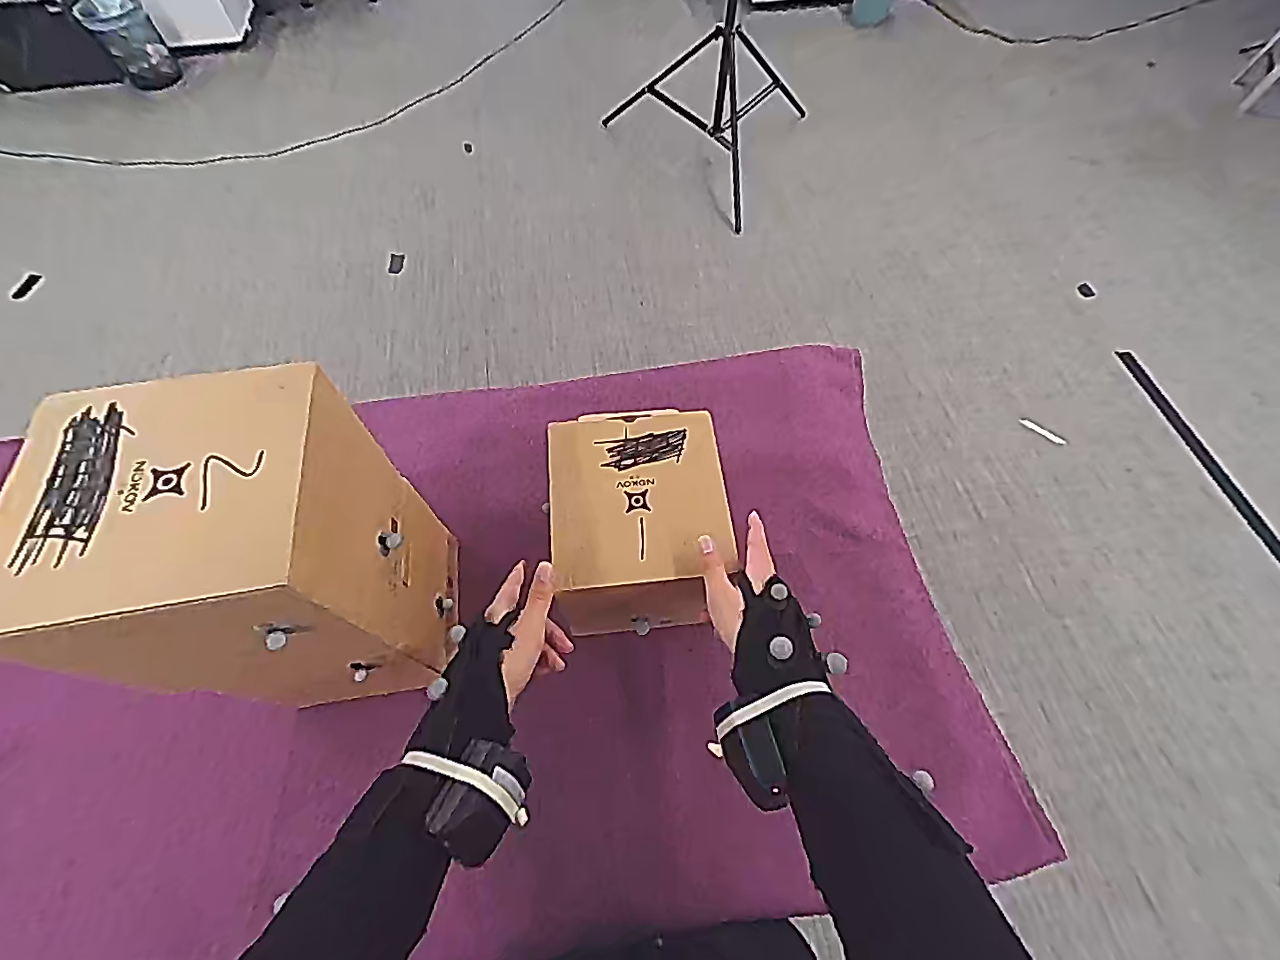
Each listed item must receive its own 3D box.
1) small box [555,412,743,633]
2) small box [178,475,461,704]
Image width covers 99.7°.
[{"bbox_3d":[0.001,0.050,0.575,0.168,0.176,0.179,-5,62,-2],"label":"small box"},{"bbox_3d":[-0.292,0.116,0.541,0.179,0.176,0.168,-8,61,-5],"label":"small box"}]
